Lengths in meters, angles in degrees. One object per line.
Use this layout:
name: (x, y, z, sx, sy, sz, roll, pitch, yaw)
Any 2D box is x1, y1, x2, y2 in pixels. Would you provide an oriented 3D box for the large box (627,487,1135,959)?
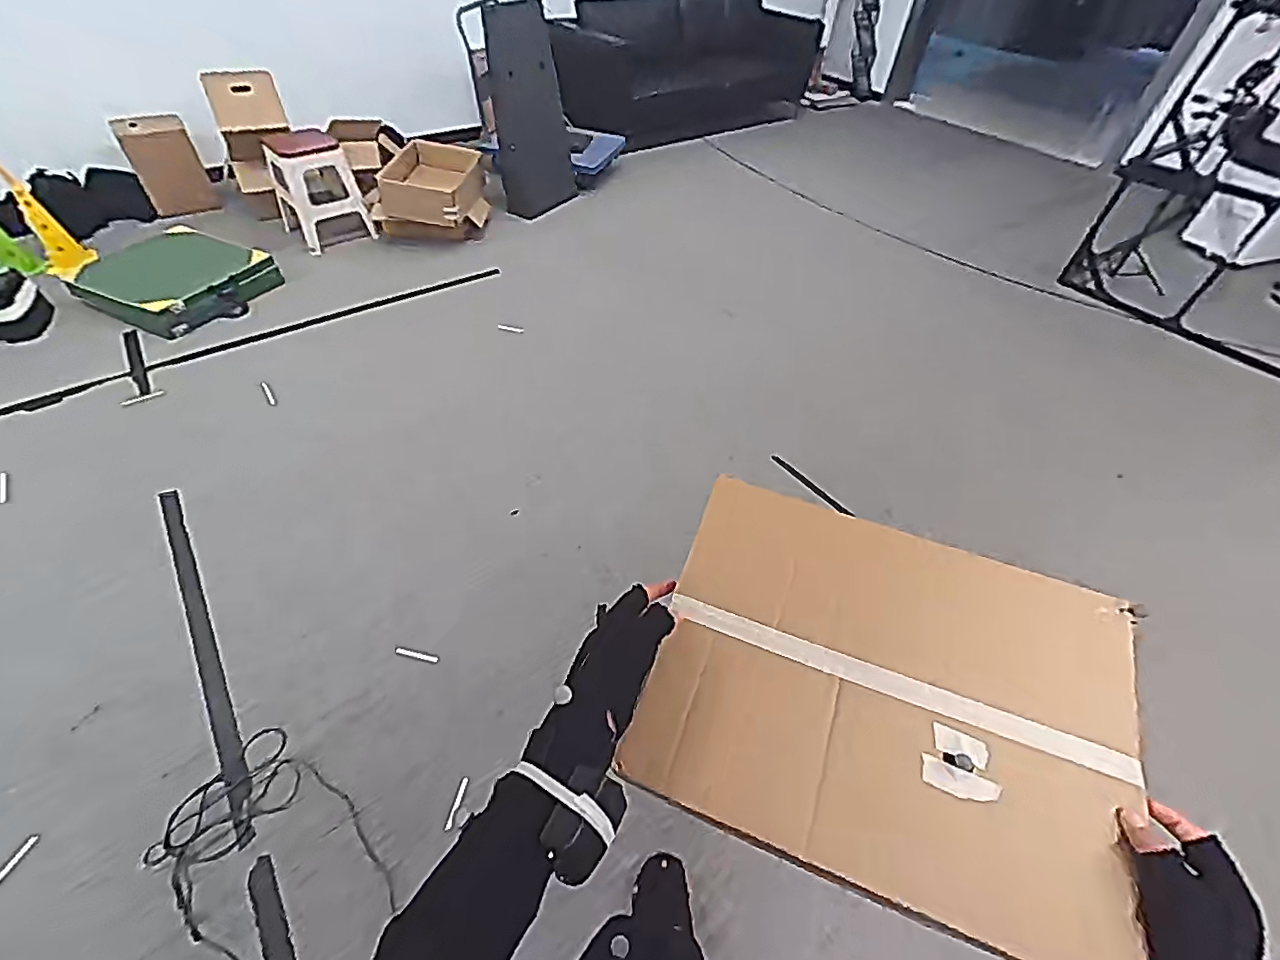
large box: (0.227, 0.262, 0.625, 0.408, 0.320, 0.320, 18, 62, 13)
